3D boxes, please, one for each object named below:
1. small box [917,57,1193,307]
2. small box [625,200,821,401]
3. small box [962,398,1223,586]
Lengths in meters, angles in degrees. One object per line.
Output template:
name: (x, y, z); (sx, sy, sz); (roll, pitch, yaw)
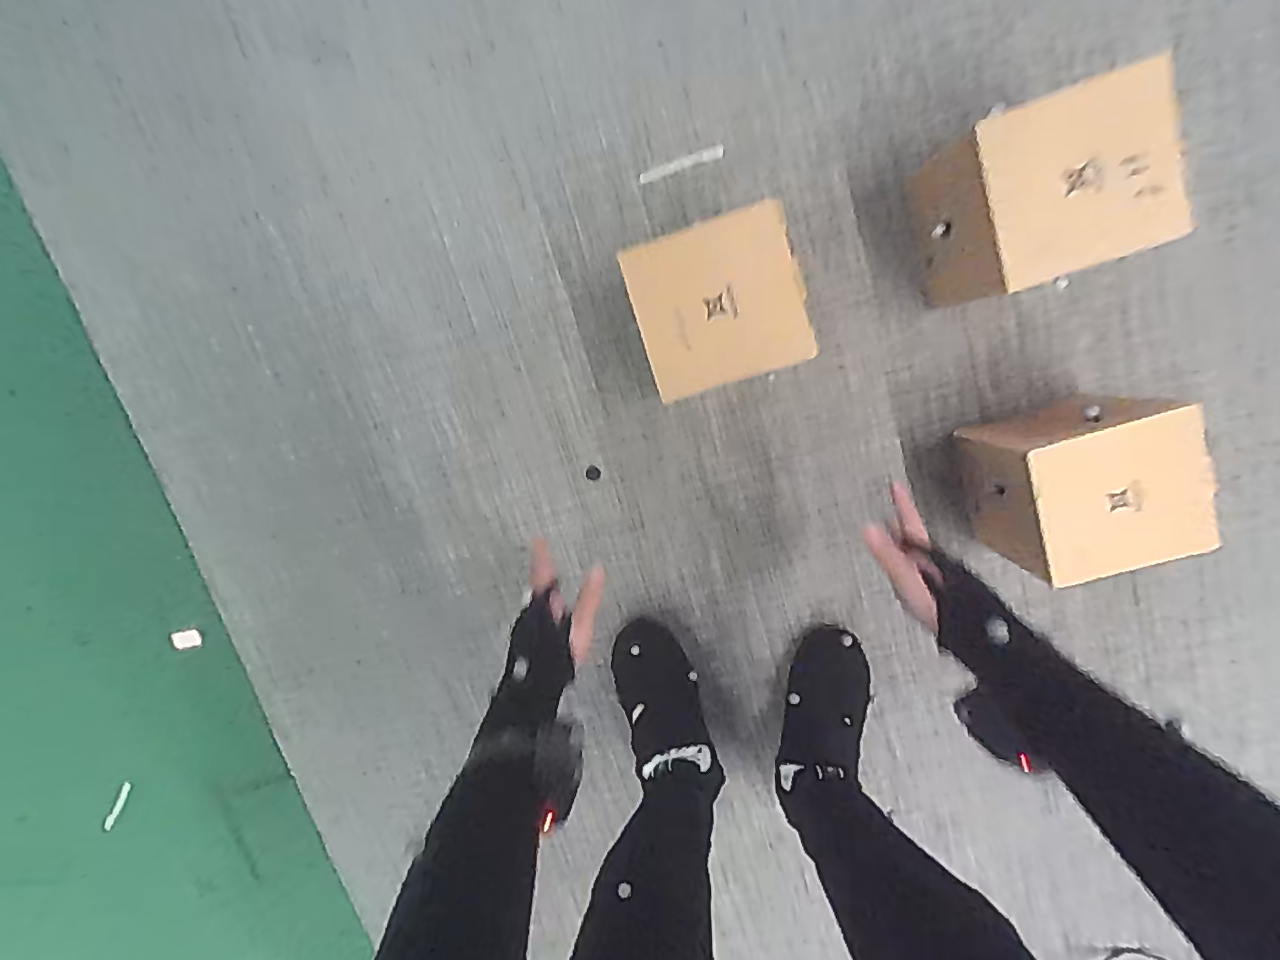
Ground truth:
small box: (0.431, -0.303, 0.596); (0.179, 0.176, 0.168); (-17, 100, 7)
small box: (0.092, -0.199, 0.643); (0.179, 0.176, 0.168); (-16, 99, 7)
small box: (0.521, 0.005, 0.653); (0.179, 0.176, 0.168); (-17, 99, 6)
